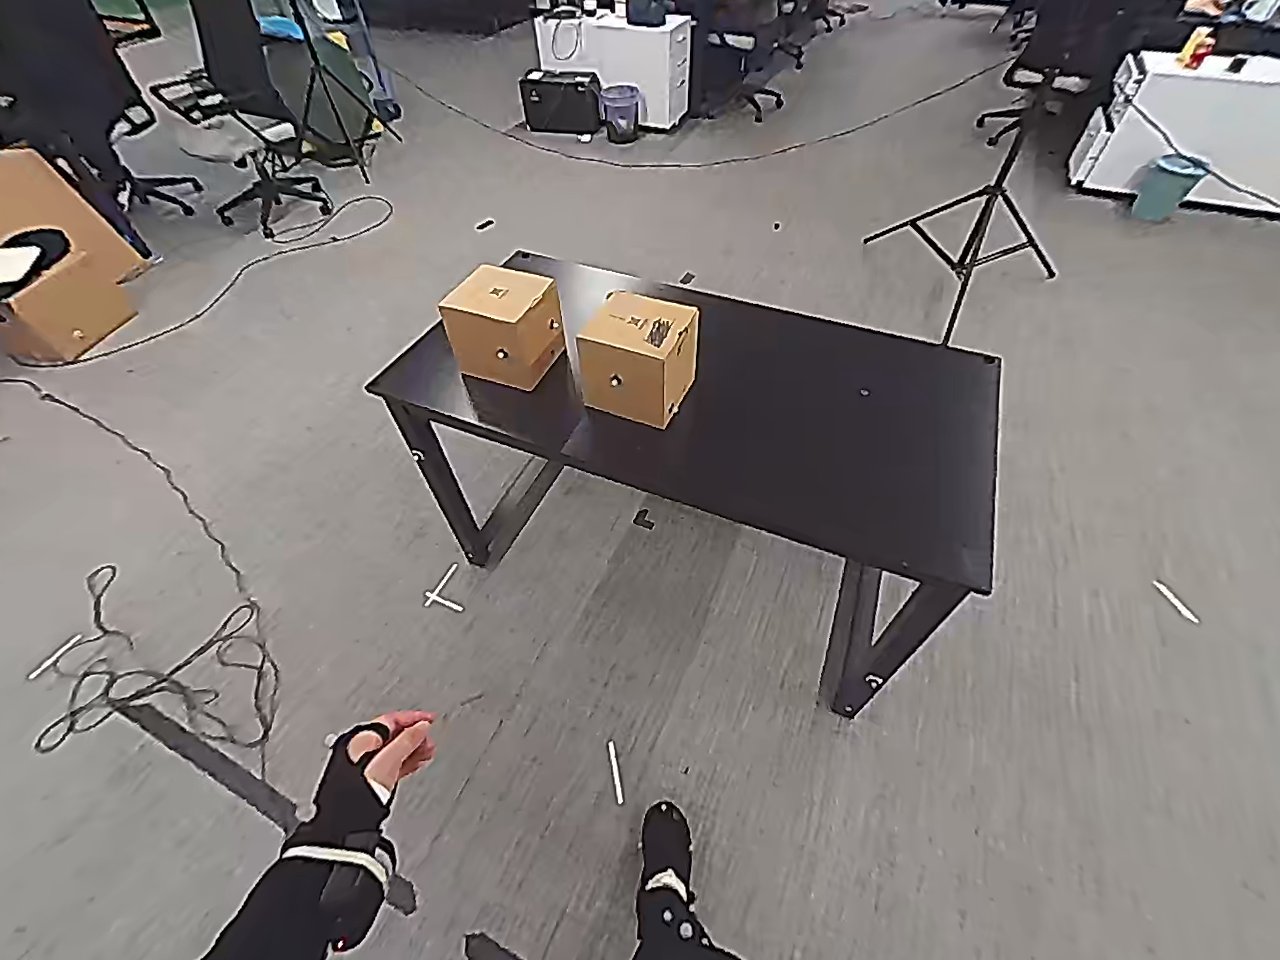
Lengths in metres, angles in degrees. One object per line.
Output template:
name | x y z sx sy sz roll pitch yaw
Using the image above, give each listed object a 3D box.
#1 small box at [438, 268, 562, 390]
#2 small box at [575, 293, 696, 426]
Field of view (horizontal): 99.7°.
small box | -0.277 -0.309 1.120 0.179 0.176 0.168 16 52 15
small box | -0.003 -0.229 1.044 0.179 0.176 0.168 18 53 17
